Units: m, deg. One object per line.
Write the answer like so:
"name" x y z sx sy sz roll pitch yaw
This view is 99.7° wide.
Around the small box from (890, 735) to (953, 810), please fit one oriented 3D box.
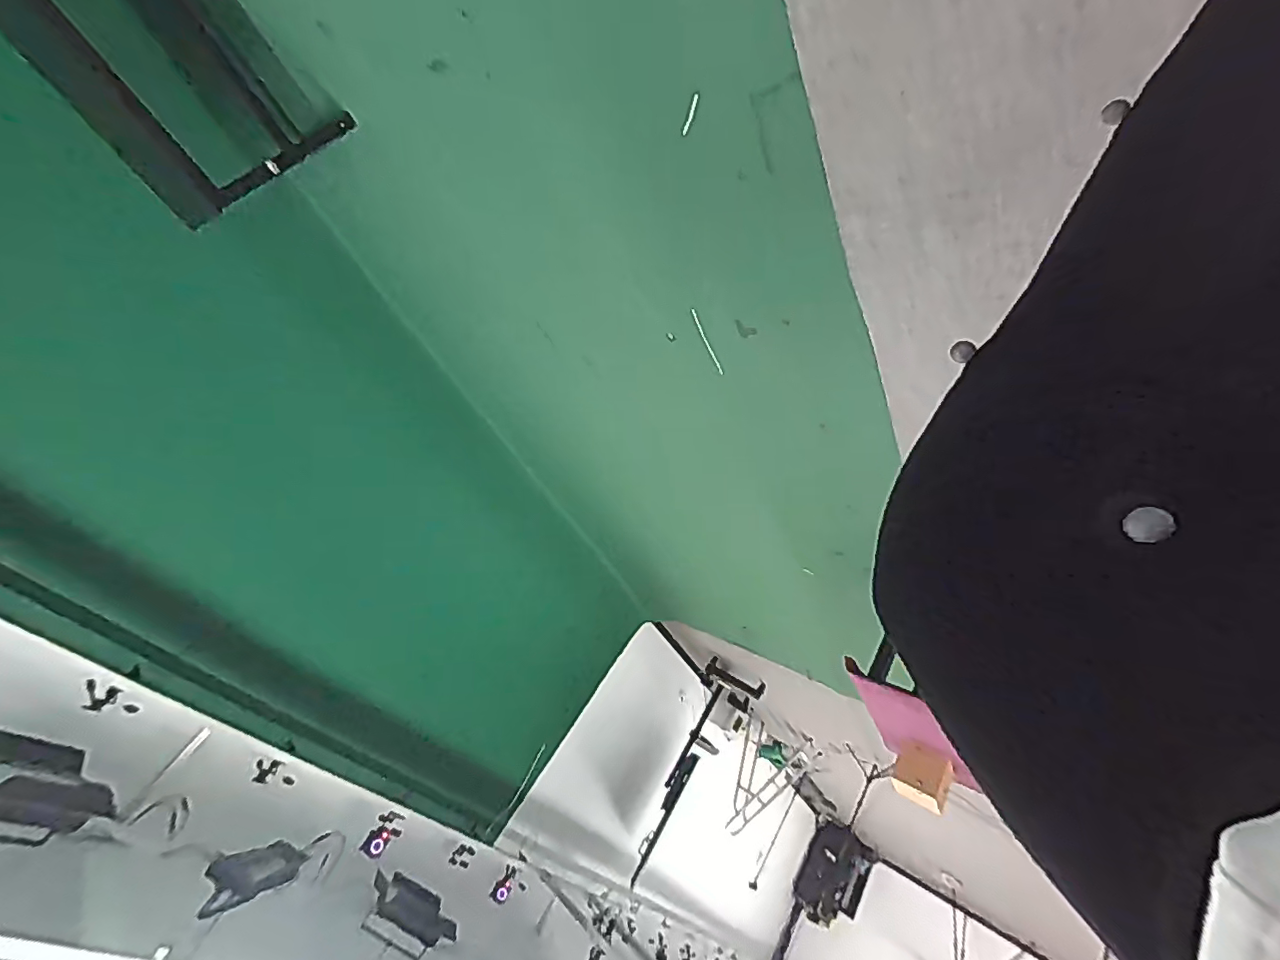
"small box" 1.094 1.128 2.094 0.168 0.176 0.179 11 145 43
